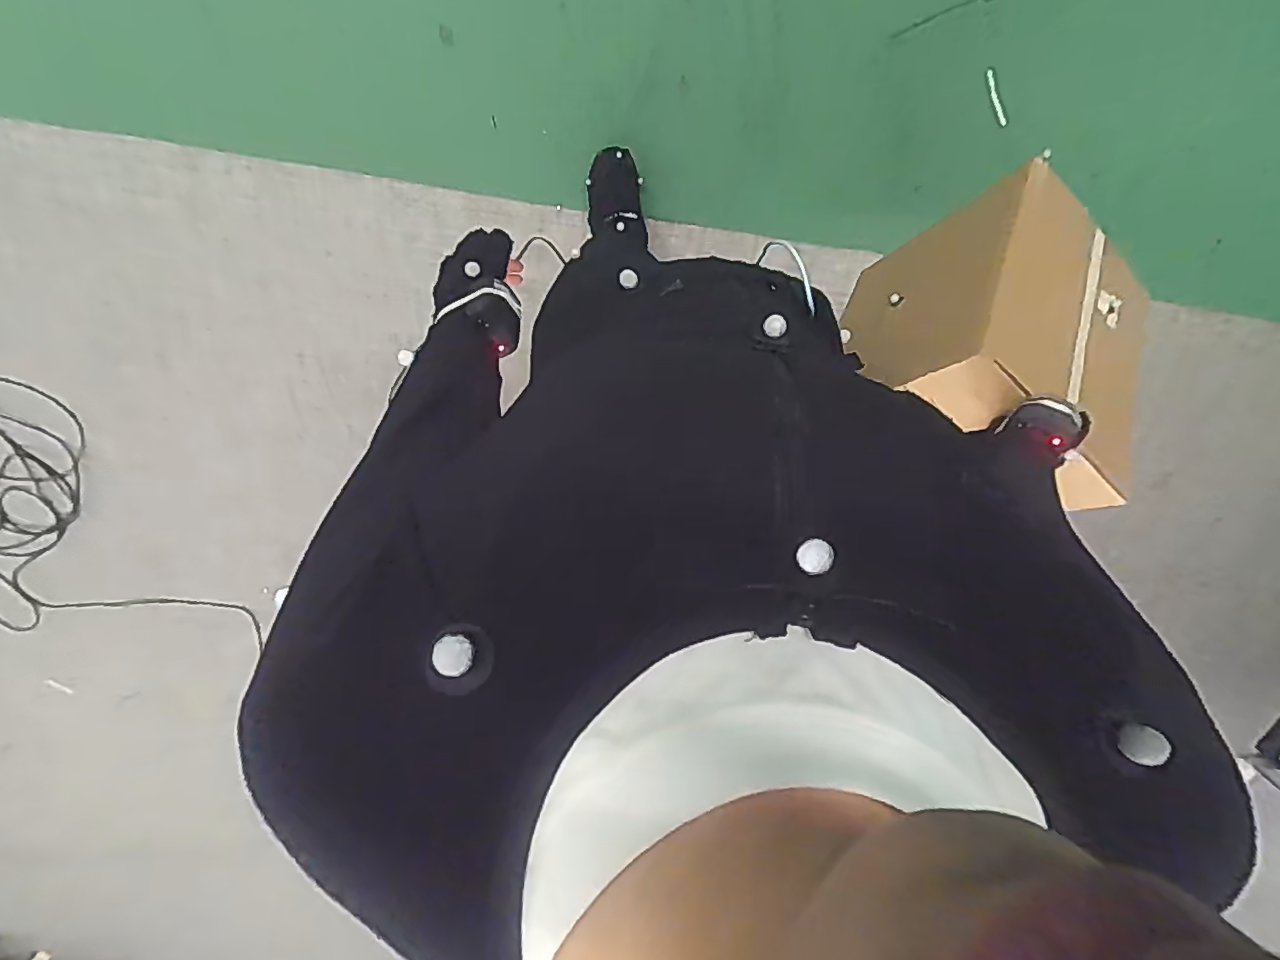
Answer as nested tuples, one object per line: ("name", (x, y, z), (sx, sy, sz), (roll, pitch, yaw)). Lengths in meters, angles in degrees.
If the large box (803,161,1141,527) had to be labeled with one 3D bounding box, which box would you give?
("large box", (0.524, -0.185, 0.866), (0.320, 0.320, 0.408), (36, 65, -17))
